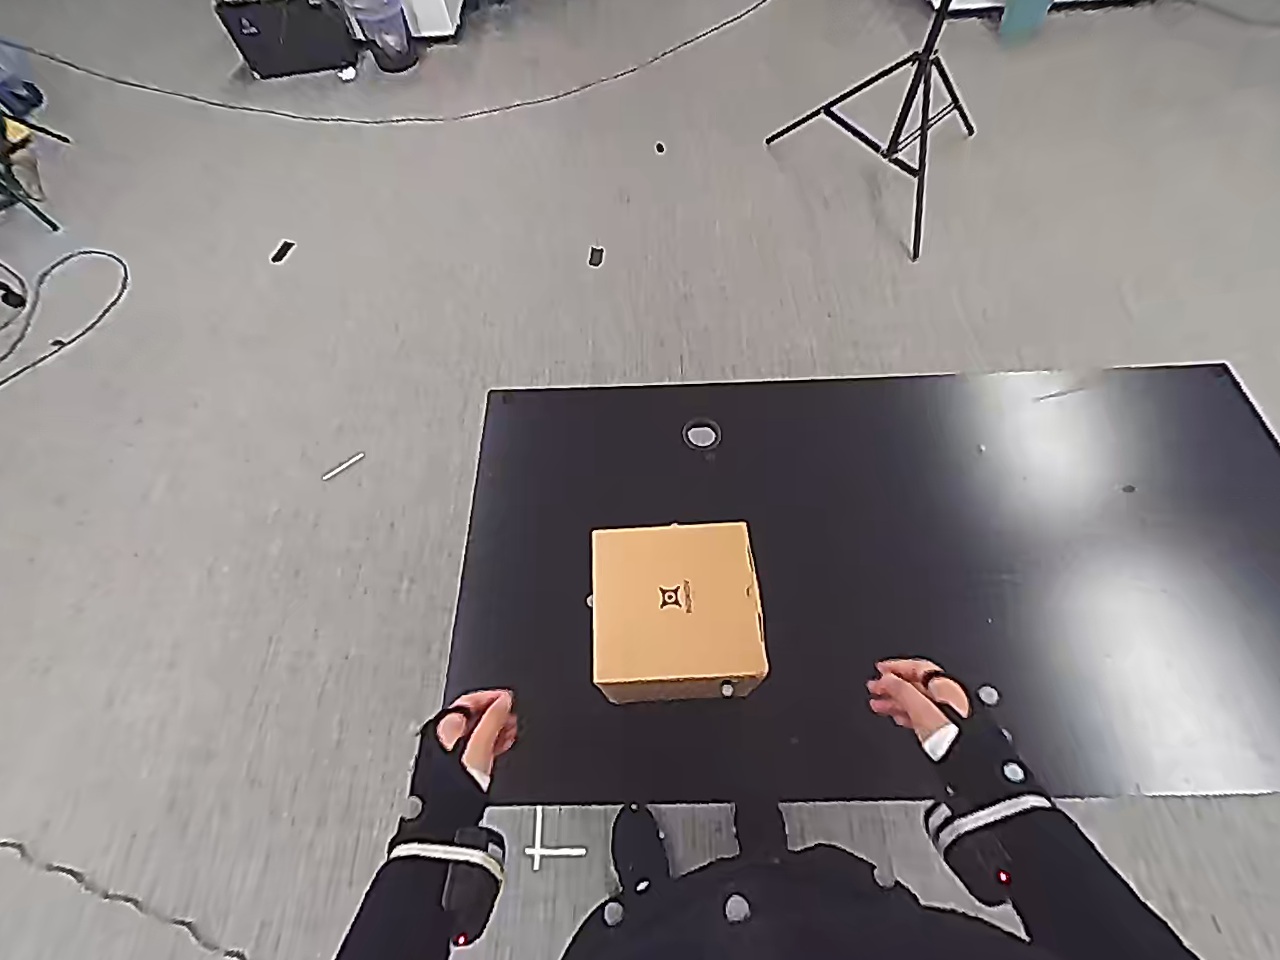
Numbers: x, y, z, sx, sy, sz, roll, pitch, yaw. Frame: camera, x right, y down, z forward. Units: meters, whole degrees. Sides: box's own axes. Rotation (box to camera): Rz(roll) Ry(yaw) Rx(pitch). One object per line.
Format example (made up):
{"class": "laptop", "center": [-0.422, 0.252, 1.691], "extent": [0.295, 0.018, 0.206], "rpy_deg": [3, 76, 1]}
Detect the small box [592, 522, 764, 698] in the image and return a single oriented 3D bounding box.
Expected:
{"class": "small box", "center": [0.039, 0.163, 0.652], "extent": [0.179, 0.176, 0.168], "rpy_deg": [-3, 62, 0]}
